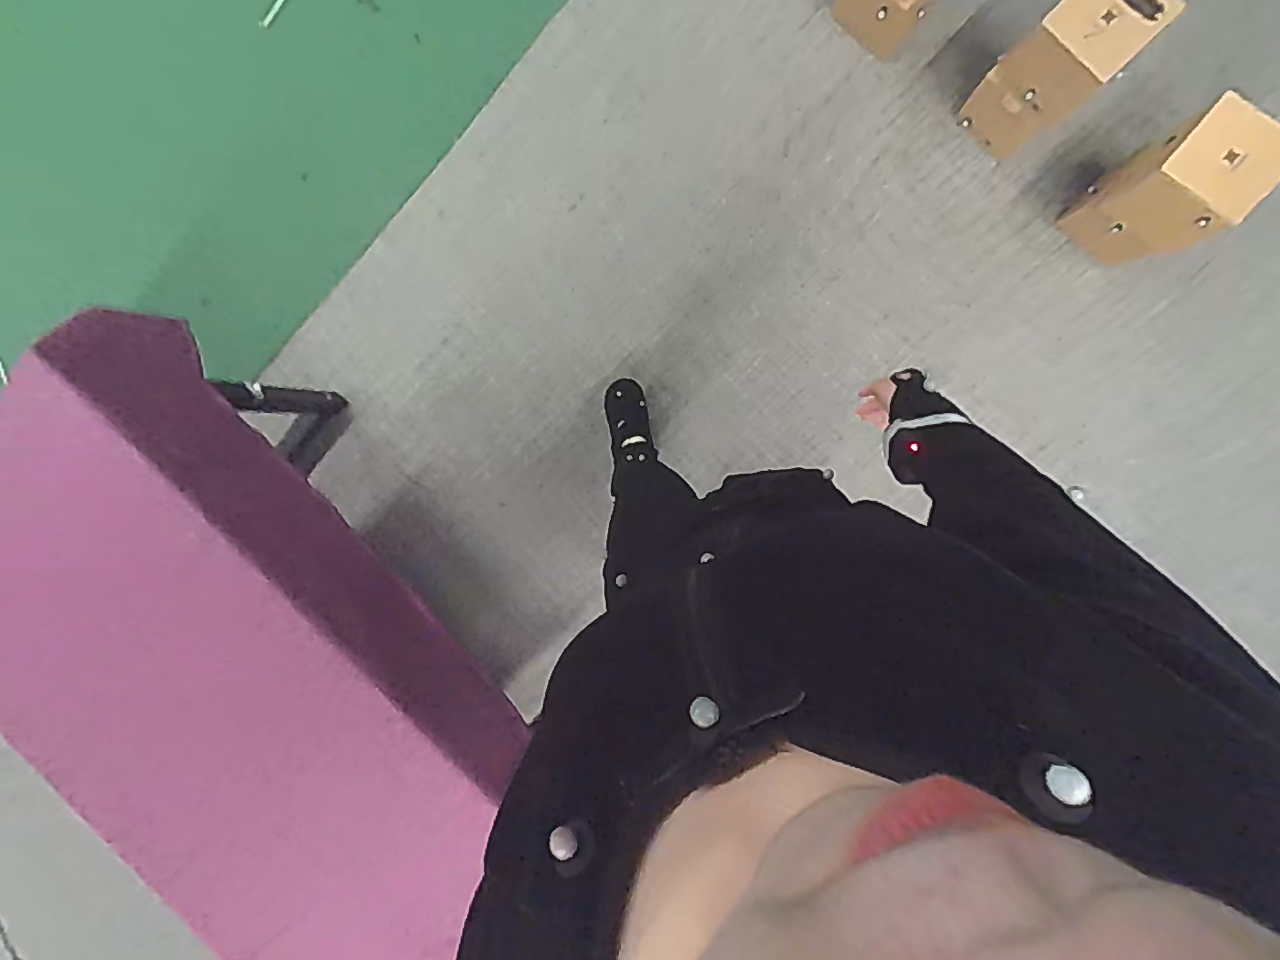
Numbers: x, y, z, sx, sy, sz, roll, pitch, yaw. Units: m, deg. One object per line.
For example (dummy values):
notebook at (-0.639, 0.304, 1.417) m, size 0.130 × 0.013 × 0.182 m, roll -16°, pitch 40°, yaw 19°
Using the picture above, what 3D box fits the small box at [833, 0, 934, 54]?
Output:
small box at (0.576, -1.134, 1.238) m, size 0.179 × 0.176 × 0.168 m, roll 45°, pitch 99°, yaw 2°

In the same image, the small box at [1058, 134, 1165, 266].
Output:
small box at (1.102, -0.612, 1.209) m, size 0.179 × 0.176 × 0.168 m, roll 43°, pitch 100°, yaw 2°

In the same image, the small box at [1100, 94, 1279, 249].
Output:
small box at (1.070, -0.584, 1.052) m, size 0.179 × 0.176 × 0.168 m, roll 38°, pitch 100°, yaw 3°

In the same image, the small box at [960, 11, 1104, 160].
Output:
small box at (0.864, -0.873, 1.219) m, size 0.168 × 0.176 × 0.179 m, roll 45°, pitch 99°, yaw 2°
